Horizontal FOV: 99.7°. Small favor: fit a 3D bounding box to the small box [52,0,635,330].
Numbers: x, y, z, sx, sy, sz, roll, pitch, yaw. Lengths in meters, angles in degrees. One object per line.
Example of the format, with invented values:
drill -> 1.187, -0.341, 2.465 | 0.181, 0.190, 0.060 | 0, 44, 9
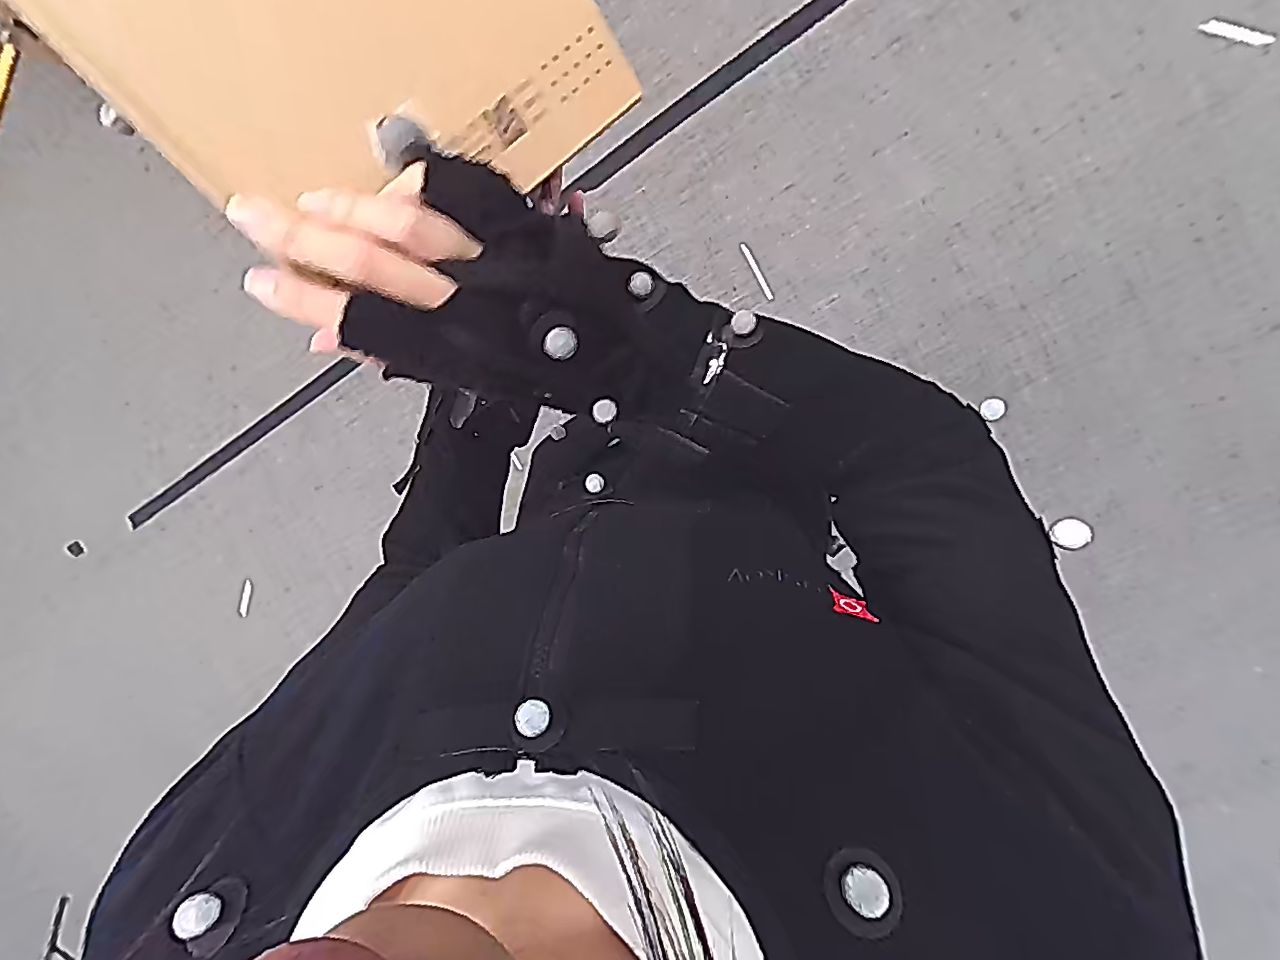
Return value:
small box -> -0.133, -0.196, 0.281 | 0.168, 0.179, 0.176 | -43, 118, -5
